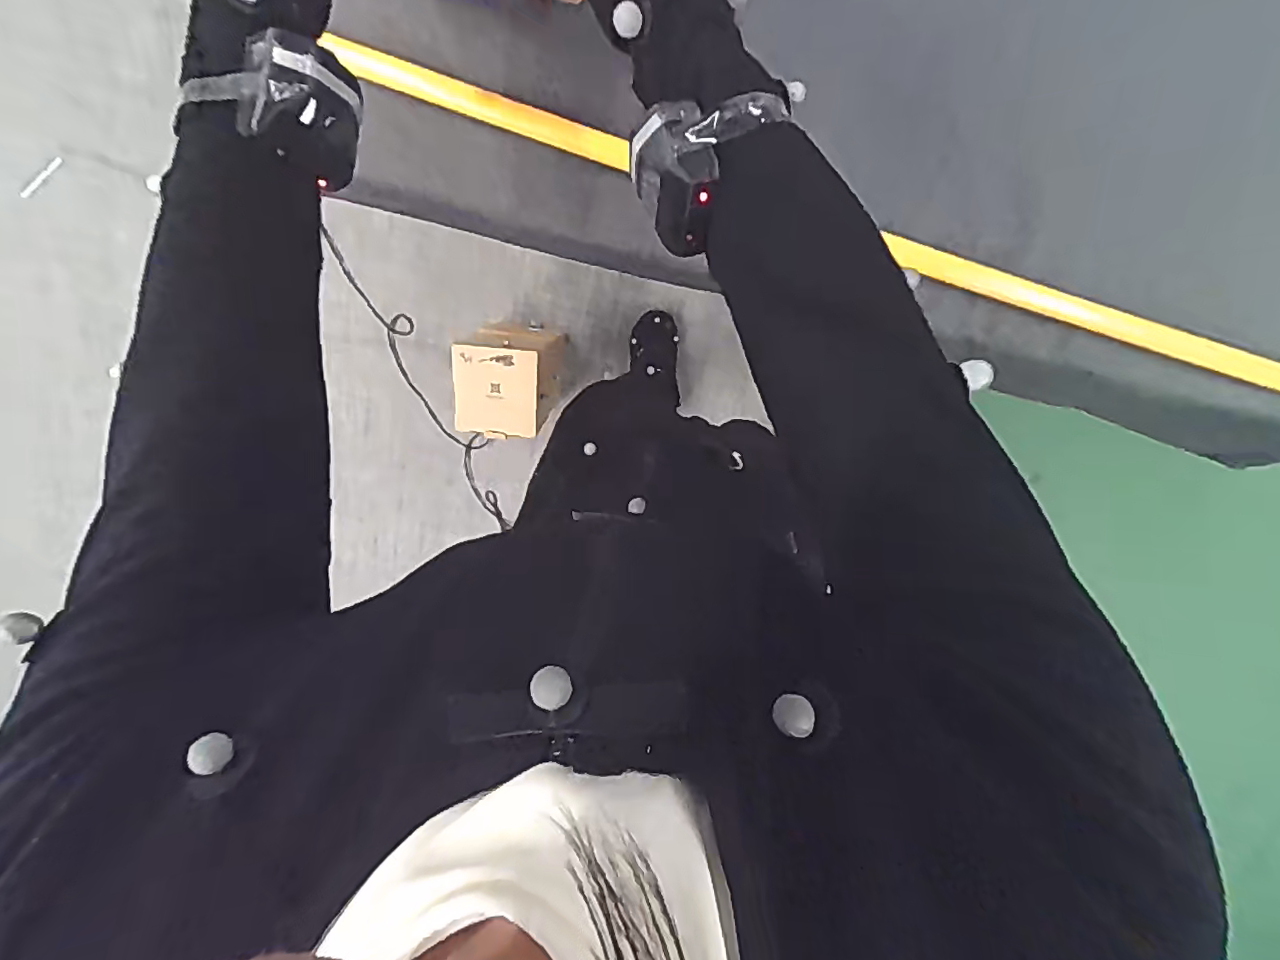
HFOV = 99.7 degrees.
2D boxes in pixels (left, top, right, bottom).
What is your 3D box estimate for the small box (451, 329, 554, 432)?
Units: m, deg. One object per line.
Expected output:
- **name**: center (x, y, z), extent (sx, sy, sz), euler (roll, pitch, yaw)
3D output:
- **small box**: center (-0.278, -0.212, 1.132), extent (0.168, 0.176, 0.179), euler (4, 112, 2)
